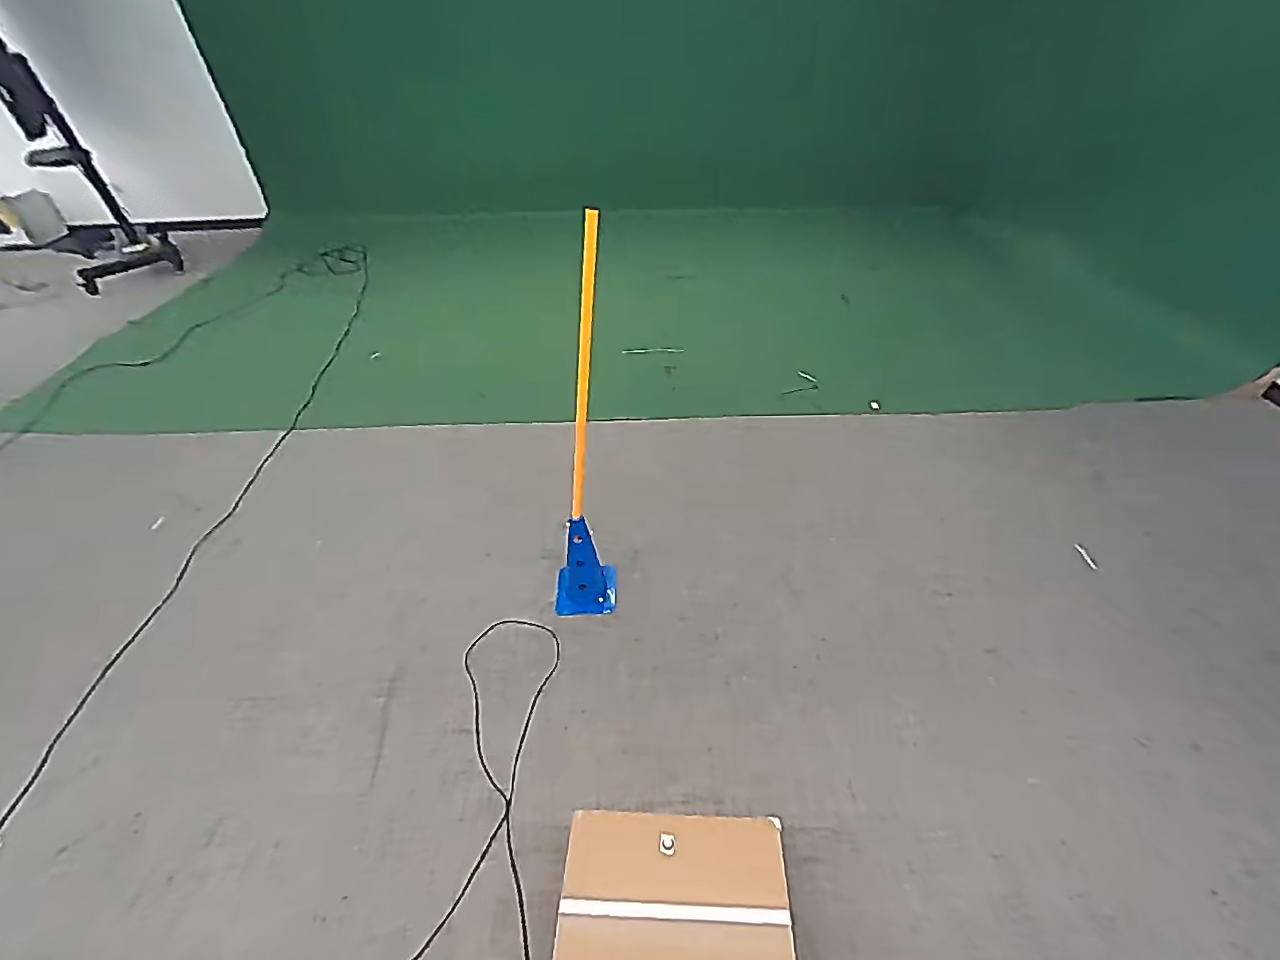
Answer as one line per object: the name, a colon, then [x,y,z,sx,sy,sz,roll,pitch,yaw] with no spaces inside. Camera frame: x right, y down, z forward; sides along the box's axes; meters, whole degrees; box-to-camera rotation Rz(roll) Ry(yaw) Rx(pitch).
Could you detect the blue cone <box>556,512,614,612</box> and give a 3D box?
blue cone: [-0.183,0.237,1.707,0.193,0.380,0.192,-2,42,-3]
